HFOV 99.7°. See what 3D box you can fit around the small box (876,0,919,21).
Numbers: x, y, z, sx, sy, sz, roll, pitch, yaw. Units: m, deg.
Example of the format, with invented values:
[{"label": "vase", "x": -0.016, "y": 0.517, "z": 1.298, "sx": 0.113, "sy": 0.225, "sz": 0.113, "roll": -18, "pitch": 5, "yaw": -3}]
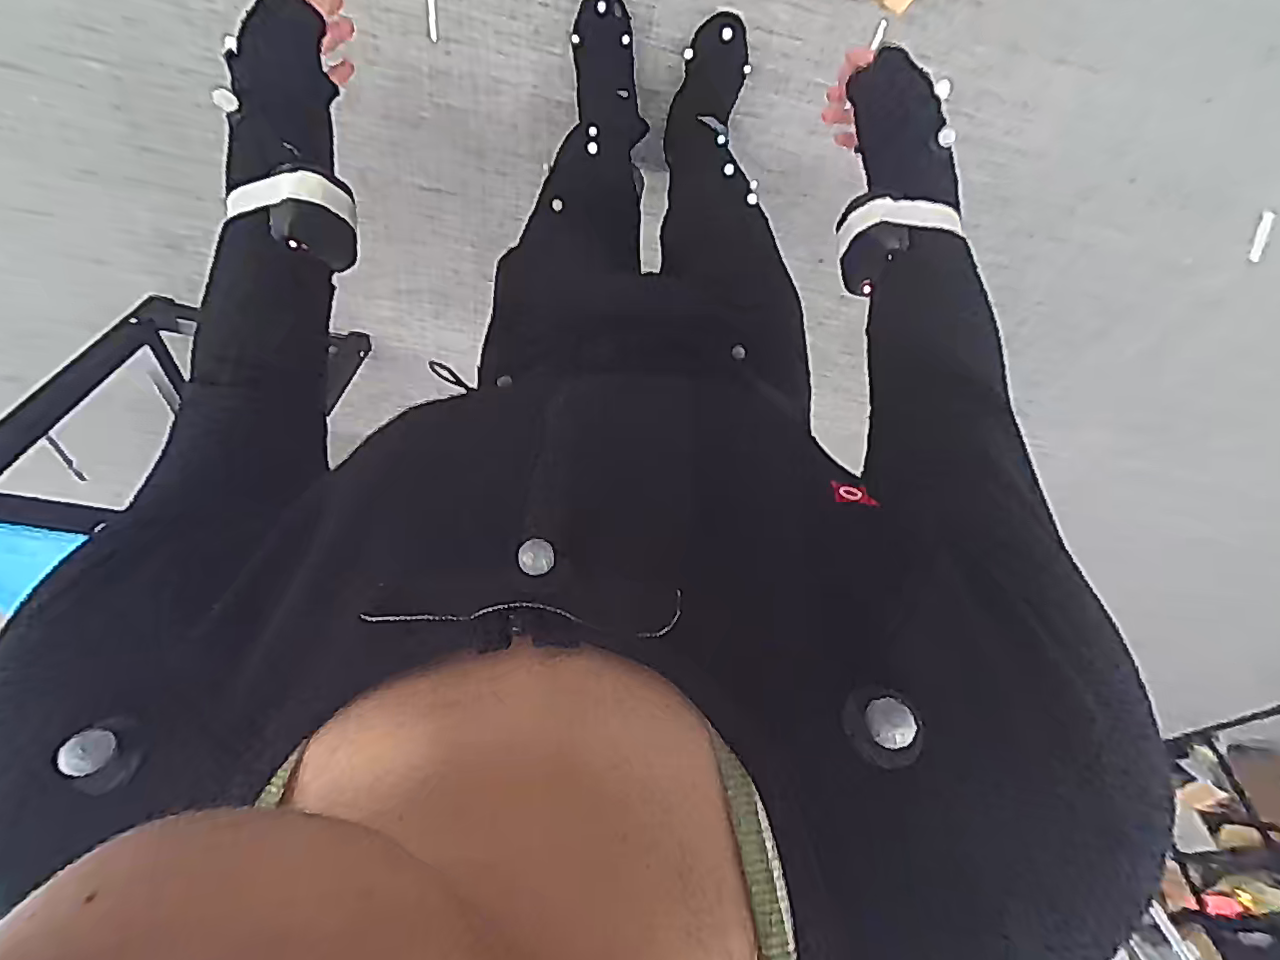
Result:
[{"label": "small box", "x": 0.329, "y": -0.740, "z": 0.675, "sx": 0.168, "sy": 0.176, "sz": 0.179, "roll": 25, "pitch": 135, "yaw": -25}]
